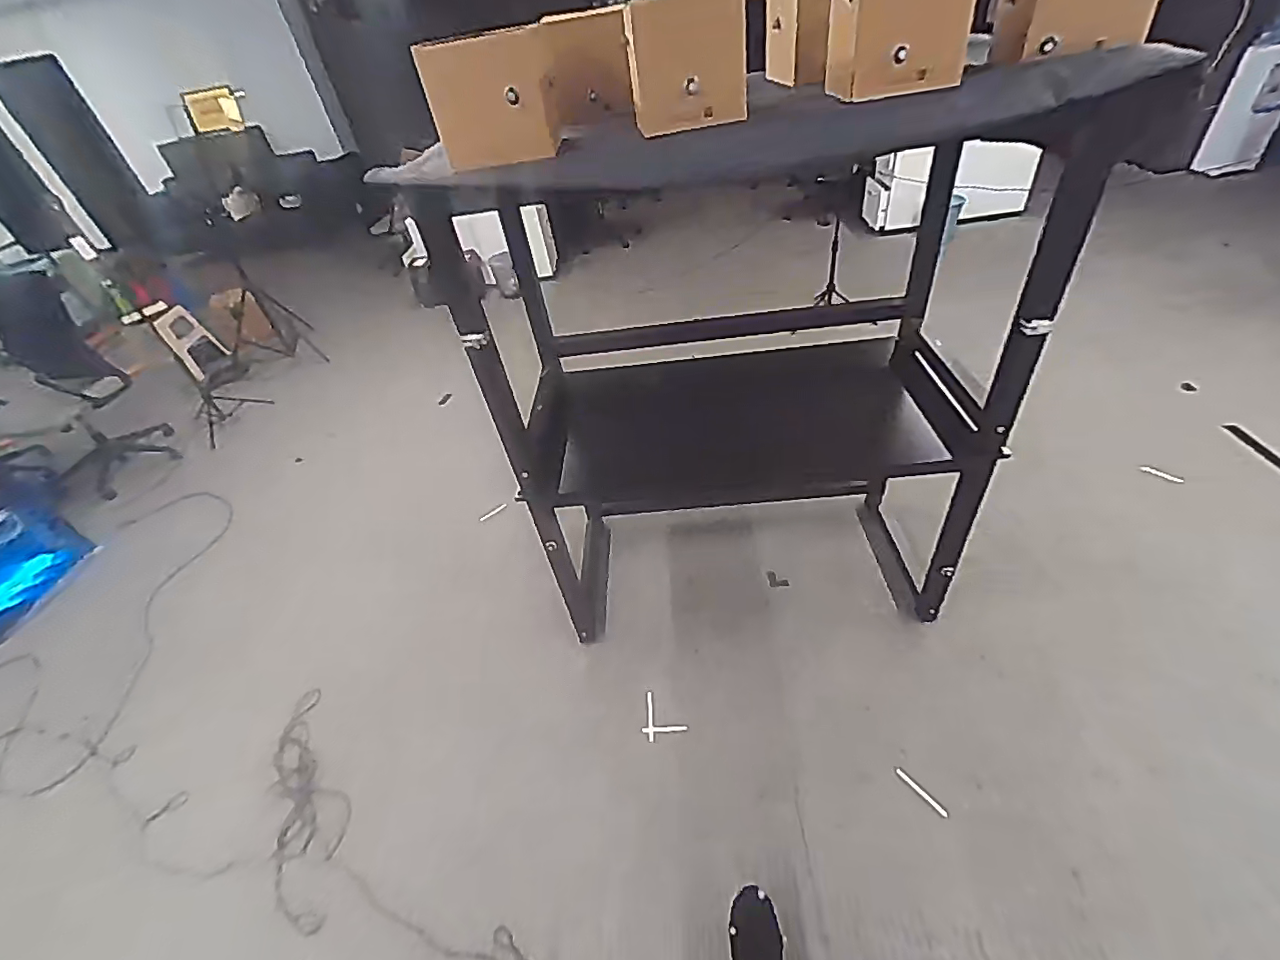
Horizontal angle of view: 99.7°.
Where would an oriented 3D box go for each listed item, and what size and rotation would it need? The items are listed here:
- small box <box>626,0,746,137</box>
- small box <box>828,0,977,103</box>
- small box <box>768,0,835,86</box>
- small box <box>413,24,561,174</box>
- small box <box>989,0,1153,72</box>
[{"bbox_3d":[0.072,-0.668,0.871,0.168,0.176,0.179,-9,39,2],"label":"small box"},{"bbox_3d":[0.405,-0.715,0.858,0.168,0.176,0.179,-5,40,6],"label":"small box"},{"bbox_3d":[0.360,-0.908,1.083,0.168,0.176,0.179,-12,41,-1],"label":"small box"},{"bbox_3d":[-0.233,-0.619,0.881,0.179,0.176,0.168,-6,41,4],"label":"small box"},{"bbox_3d":[0.678,-0.757,0.846,0.168,0.176,0.179,0,41,13],"label":"small box"}]
